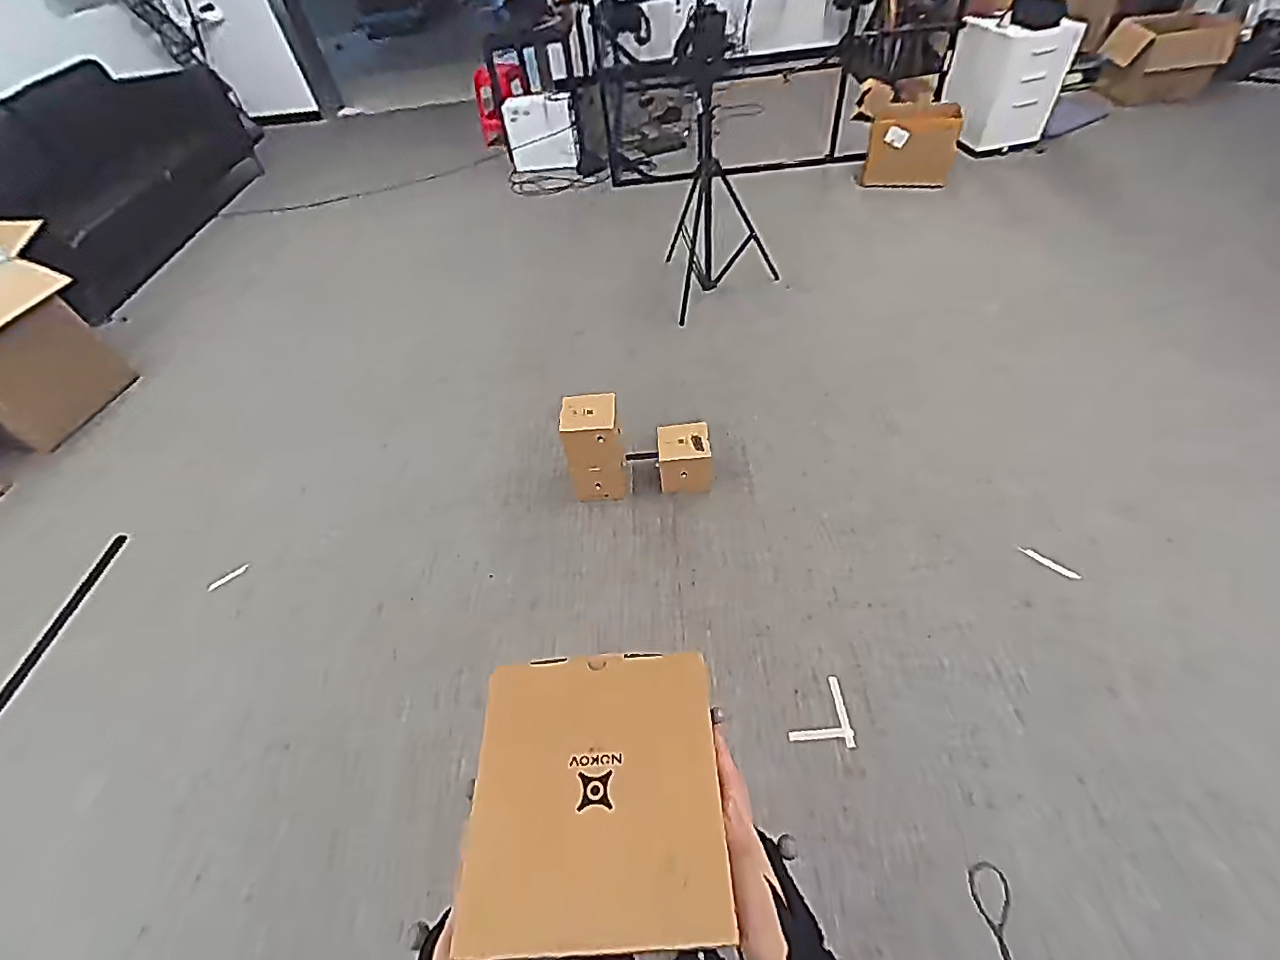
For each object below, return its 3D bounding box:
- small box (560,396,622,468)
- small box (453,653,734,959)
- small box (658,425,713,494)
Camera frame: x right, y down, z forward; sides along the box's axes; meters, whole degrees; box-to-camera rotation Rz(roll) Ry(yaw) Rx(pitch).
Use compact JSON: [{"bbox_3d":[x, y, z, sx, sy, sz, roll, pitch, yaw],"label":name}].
[{"bbox_3d":[-0.153,-0.154,1.765,0.179,0.176,0.168,-4,49,5],"label":"small box"},{"bbox_3d":[-0.025,0.256,0.418,0.168,0.176,0.179,-4,47,0],"label":"small box"},{"bbox_3d":[0.157,-0.069,1.870,0.179,0.176,0.168,-5,50,5],"label":"small box"}]
